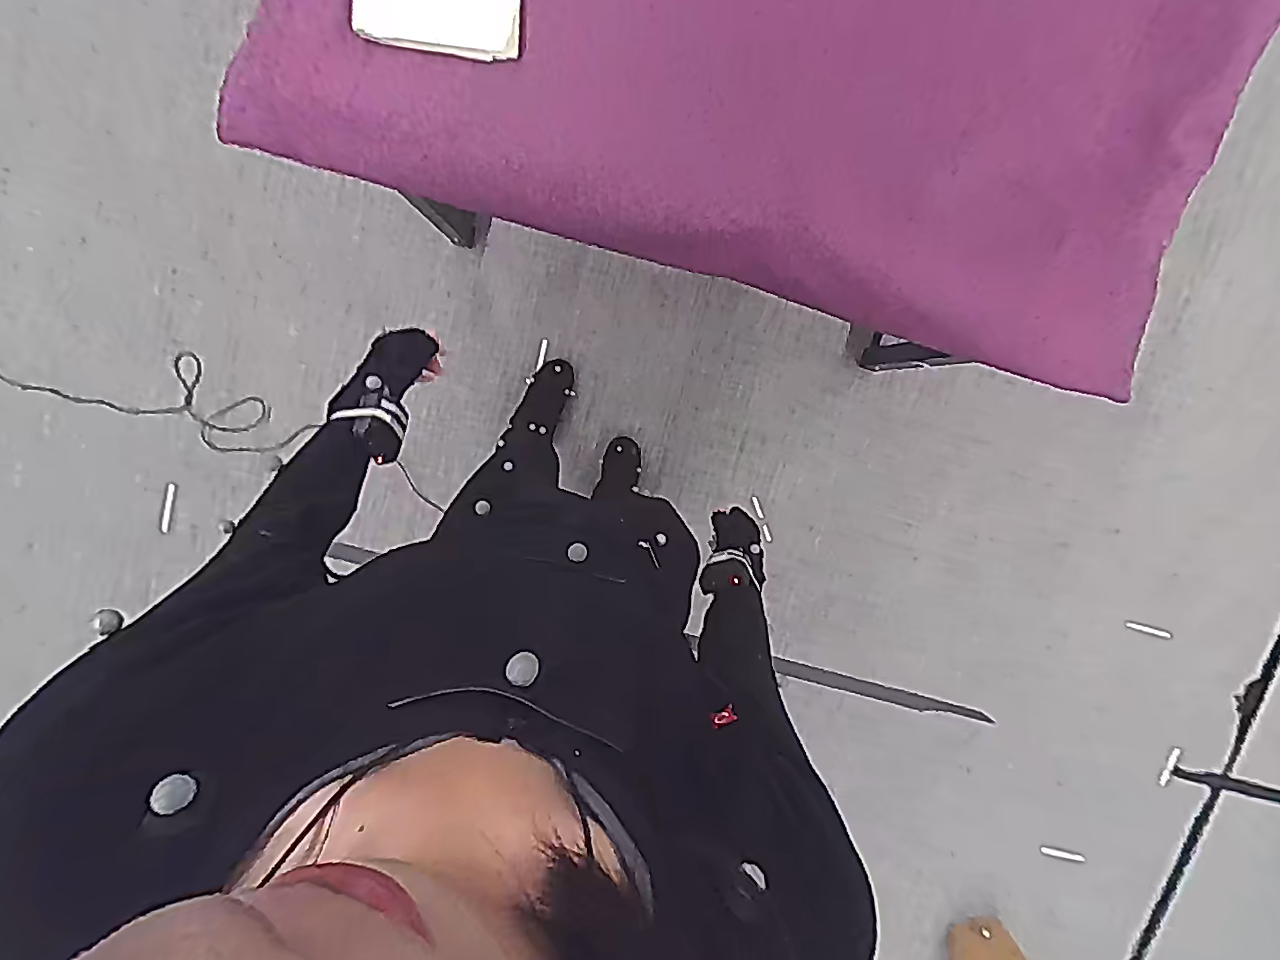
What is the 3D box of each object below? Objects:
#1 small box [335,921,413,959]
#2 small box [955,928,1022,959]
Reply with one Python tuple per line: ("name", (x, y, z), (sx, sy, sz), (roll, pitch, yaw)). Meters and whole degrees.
("small box", (-0.802, 1.461, 1.605), (0.168, 0.176, 0.179), (-13, 98, -1))
("small box", (1.130, 1.584, 1.719), (0.168, 0.176, 0.179), (-7, 98, -2))
